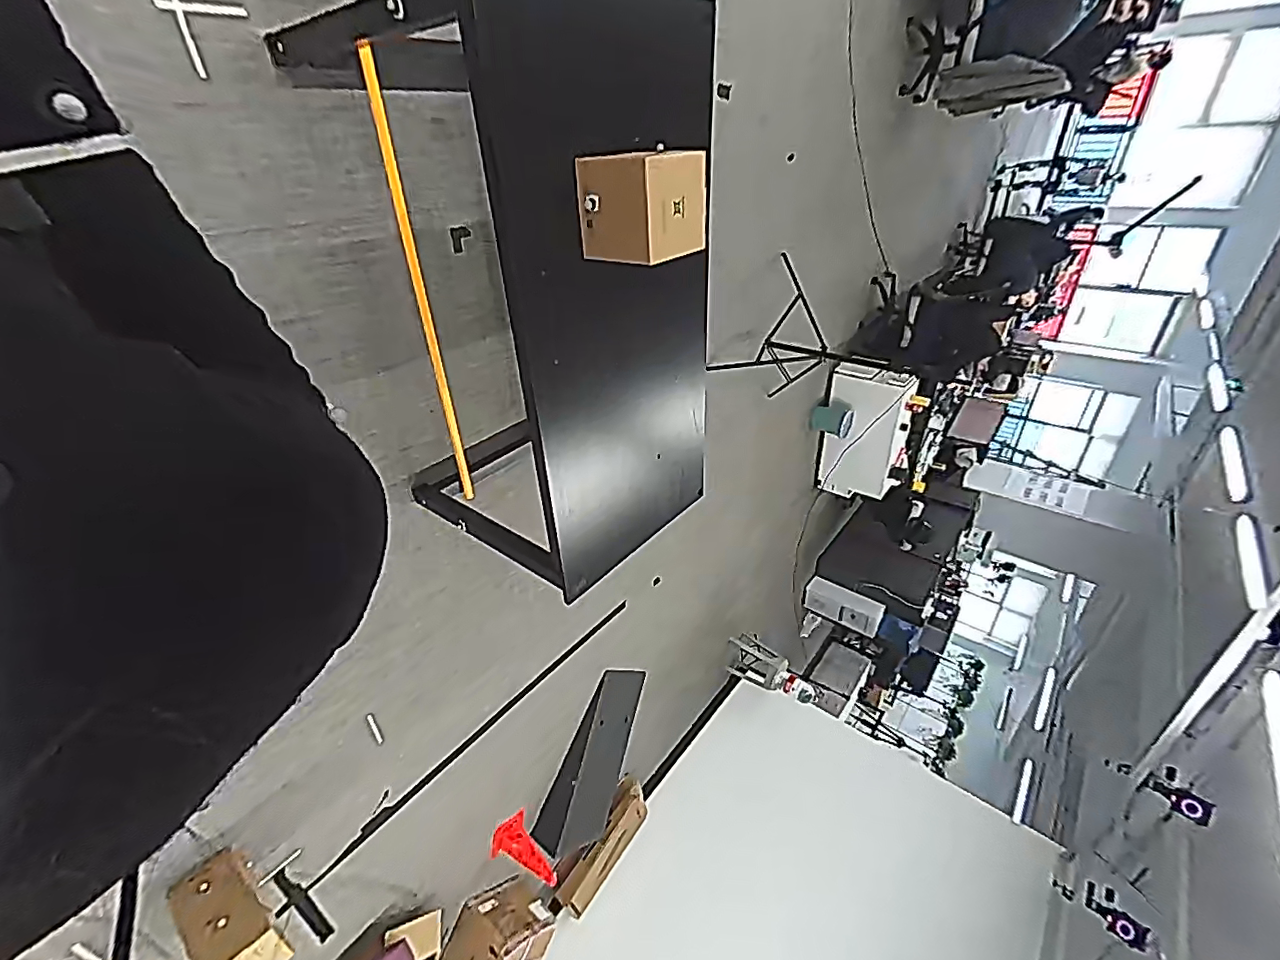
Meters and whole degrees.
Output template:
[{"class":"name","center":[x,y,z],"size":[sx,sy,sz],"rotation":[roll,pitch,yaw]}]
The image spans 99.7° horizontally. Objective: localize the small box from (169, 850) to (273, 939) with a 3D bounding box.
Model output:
[{"class":"small box","center":[-1.219,1.226,1.572],"size":[0.168,0.176,0.179],"rotation":[-34,132,-40]}]

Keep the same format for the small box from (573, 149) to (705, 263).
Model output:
[{"class":"small box","center":[0.002,-0.508,0.995],"size":[0.179,0.176,0.168],"rotation":[-35,133,-38]}]

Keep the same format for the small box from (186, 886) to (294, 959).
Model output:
[{"class":"small box","center":[-1.090,1.270,1.477],"size":[0.168,0.176,0.179],"rotation":[-32,132,-41]}]
